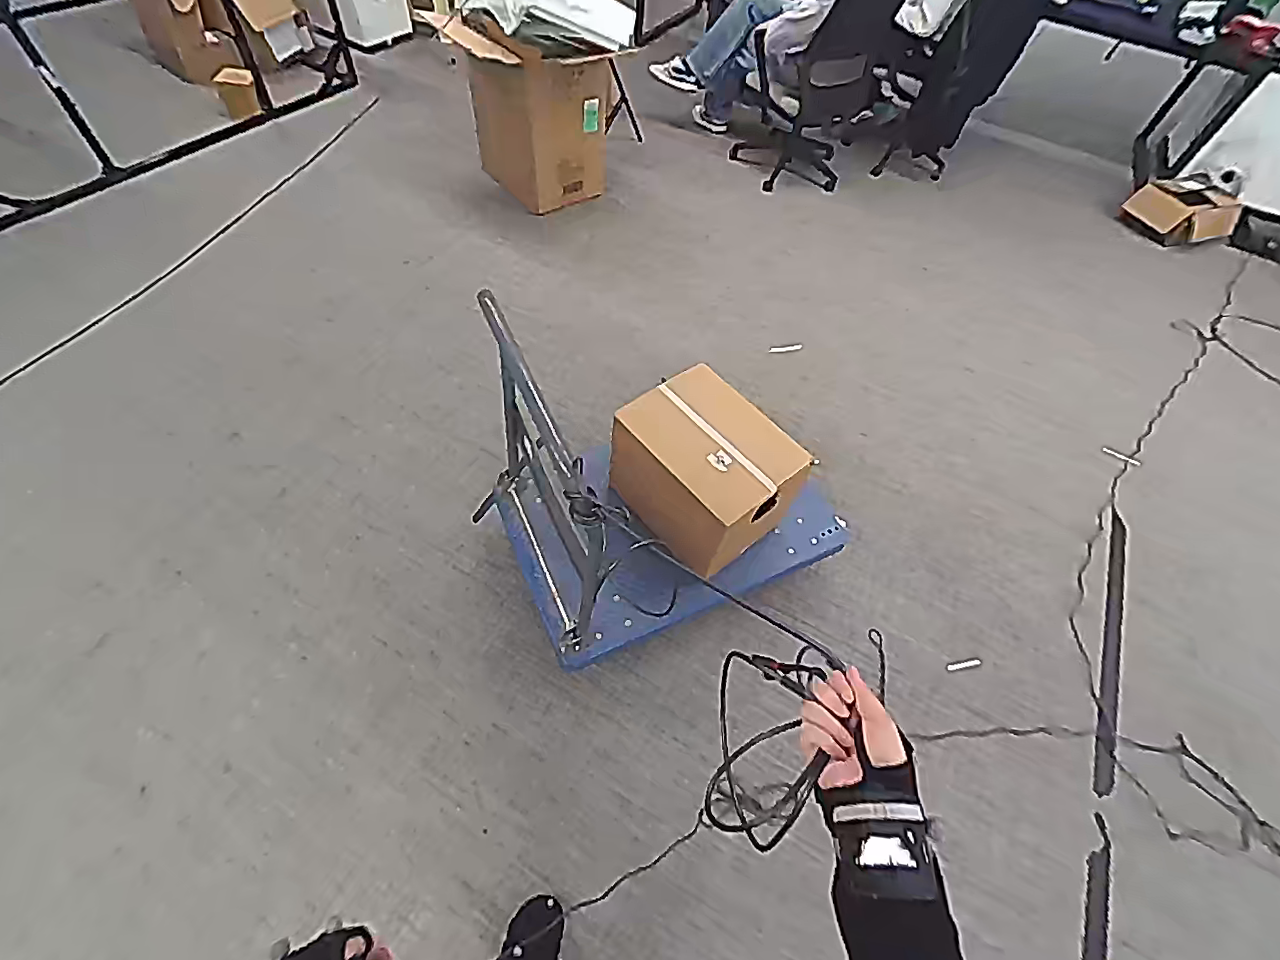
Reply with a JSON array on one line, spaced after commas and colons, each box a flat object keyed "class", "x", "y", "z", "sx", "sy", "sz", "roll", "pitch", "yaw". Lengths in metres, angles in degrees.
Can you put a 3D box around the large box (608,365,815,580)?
[{"class": "large box", "x": 0.163, "y": -0.021, "z": 1.422, "sx": 0.320, "sy": 0.320, "sz": 0.408, "roll": -34, "pitch": 67, "yaw": -24}]
